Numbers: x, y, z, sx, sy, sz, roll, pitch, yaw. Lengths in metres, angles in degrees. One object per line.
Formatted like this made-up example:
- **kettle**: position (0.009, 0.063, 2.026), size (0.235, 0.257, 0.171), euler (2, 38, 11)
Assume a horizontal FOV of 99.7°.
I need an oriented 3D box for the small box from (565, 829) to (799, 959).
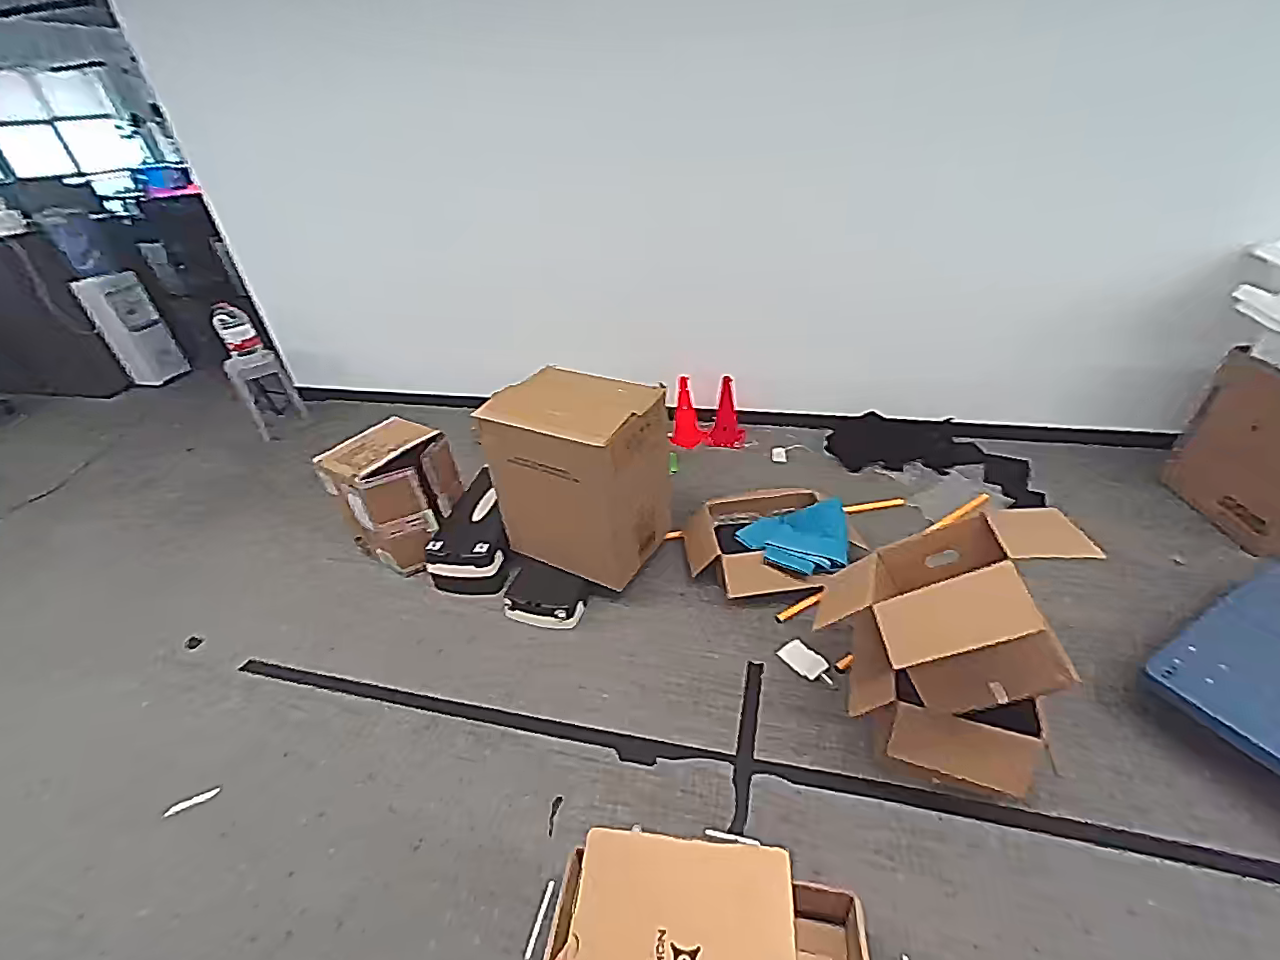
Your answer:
- **small box**: position (0.038, 0.420, 0.450), size (0.179, 0.176, 0.168), euler (-1, 39, 10)
